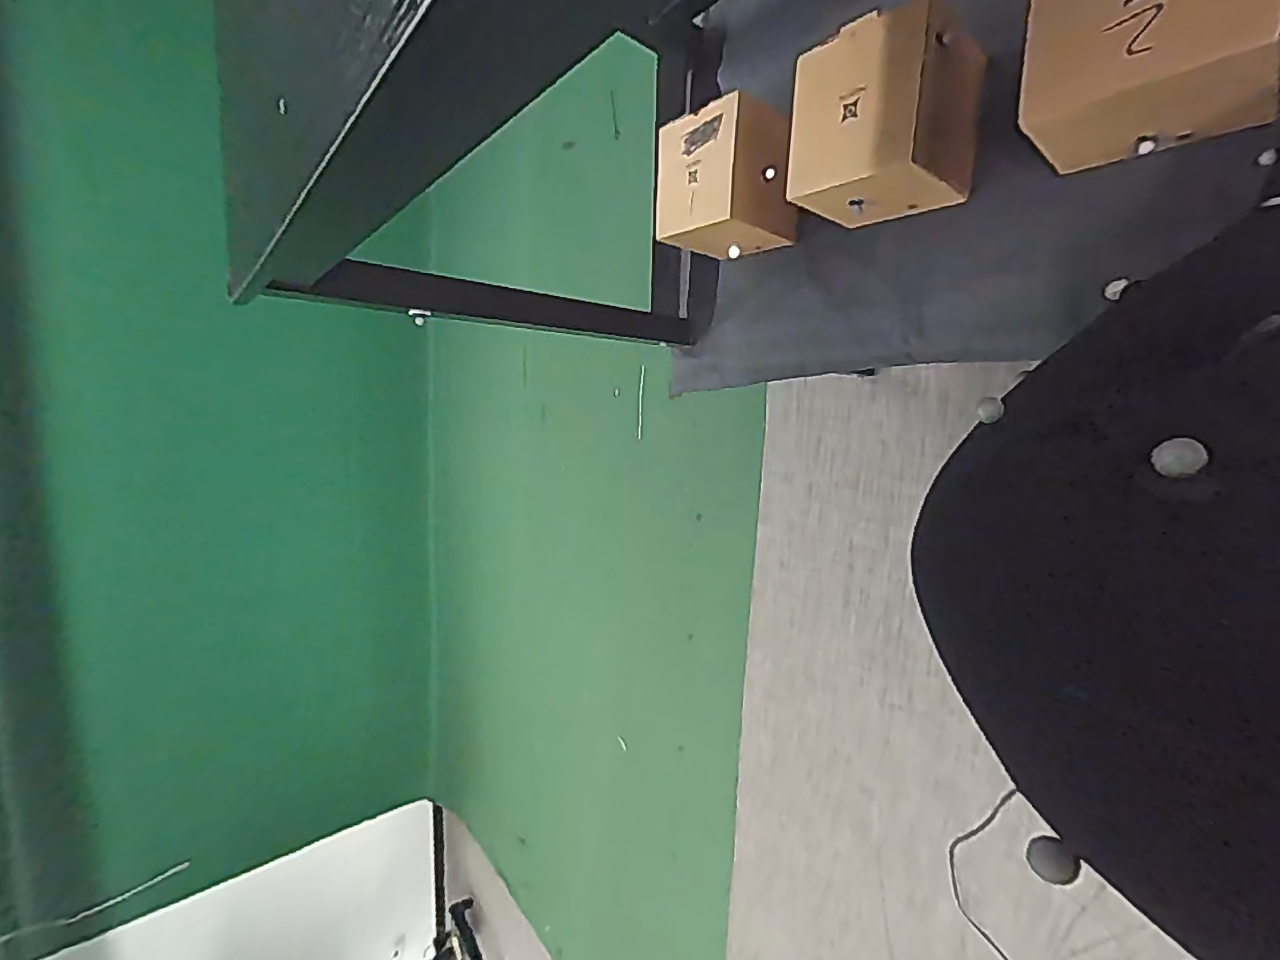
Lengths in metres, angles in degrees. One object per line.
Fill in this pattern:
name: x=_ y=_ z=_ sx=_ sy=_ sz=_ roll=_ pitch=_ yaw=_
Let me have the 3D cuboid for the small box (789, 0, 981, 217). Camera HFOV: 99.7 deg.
small box: x=0.315 y=-0.457 z=0.697 sx=0.168 sy=0.176 sz=0.179 roll=11 pitch=102 yaw=48

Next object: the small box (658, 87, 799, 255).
small box: x=0.149 y=-0.488 z=0.885 sx=0.168 sy=0.176 sz=0.179 roll=12 pitch=103 yaw=49
